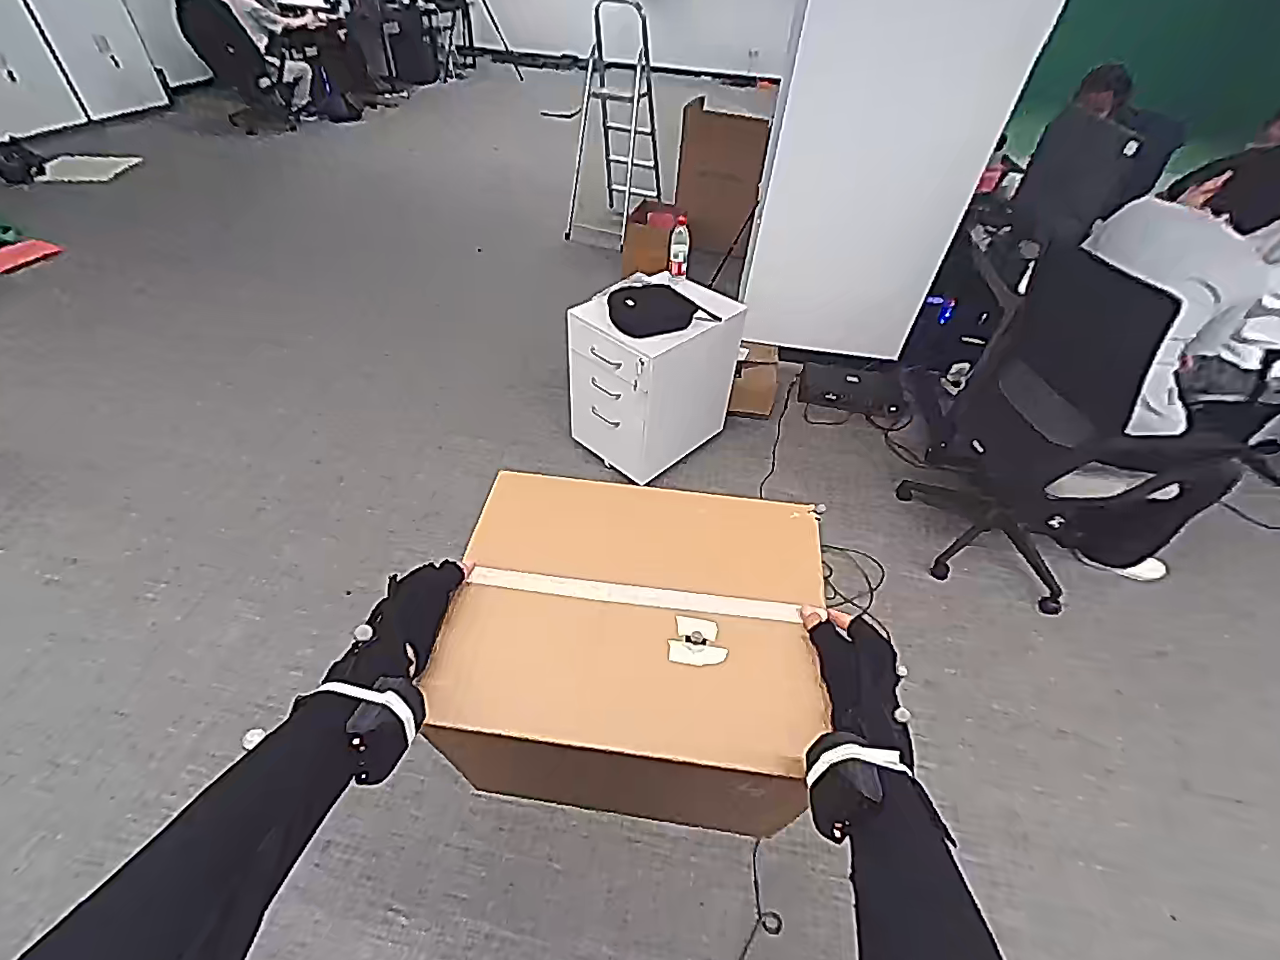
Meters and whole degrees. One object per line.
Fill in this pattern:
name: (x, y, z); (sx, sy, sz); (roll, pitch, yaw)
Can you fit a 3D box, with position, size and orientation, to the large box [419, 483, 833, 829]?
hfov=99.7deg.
large box: (-0.007, 0.234, 0.715); (0.408, 0.320, 0.320); (6, 50, 4)
